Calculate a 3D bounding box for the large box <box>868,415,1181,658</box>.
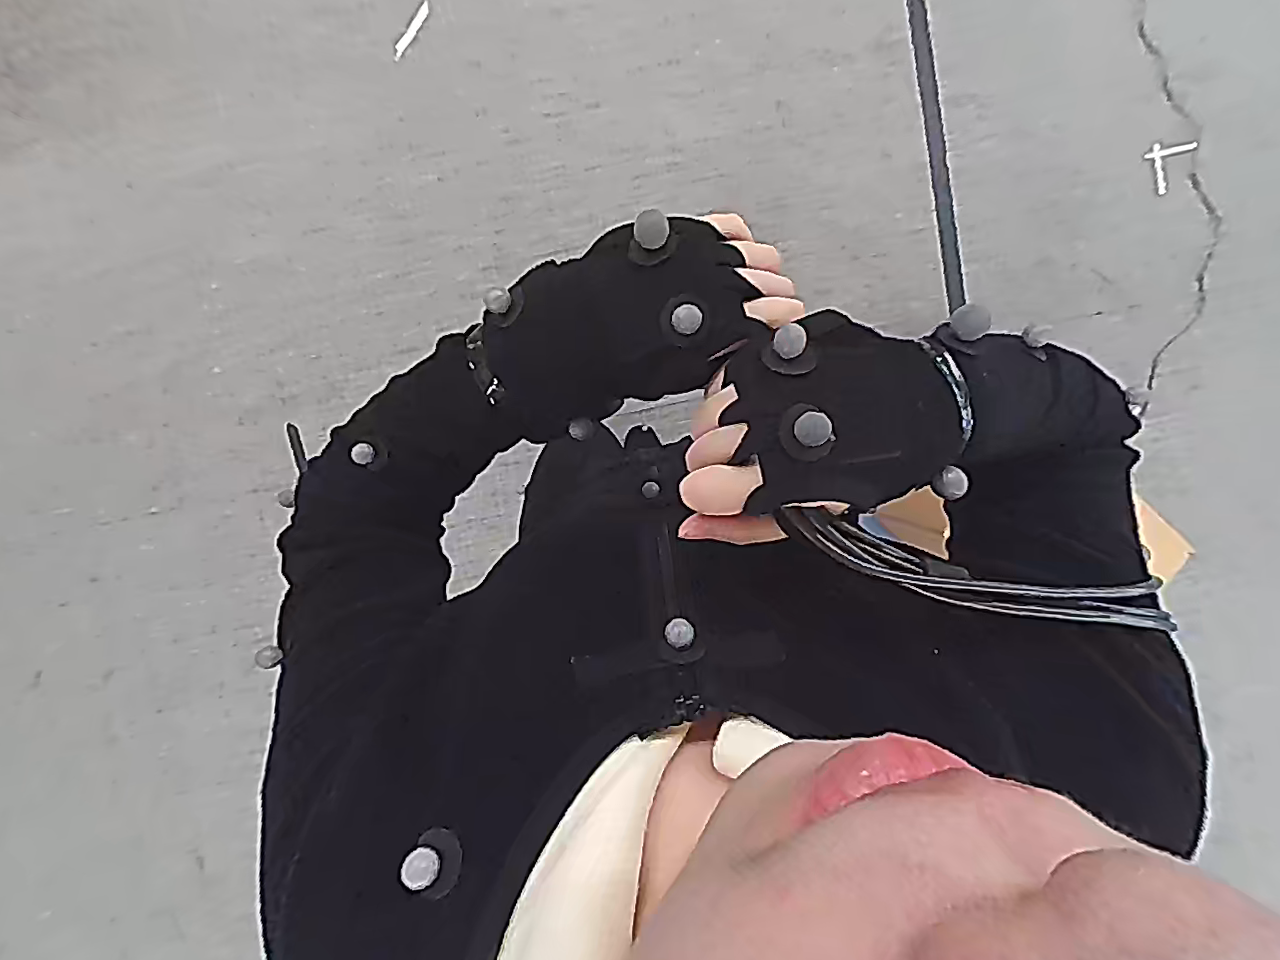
[{"bbox_3d":[0.808,0.102,1.196,0.408,0.320,0.320,42,93,-5],"label":"large box"}]
